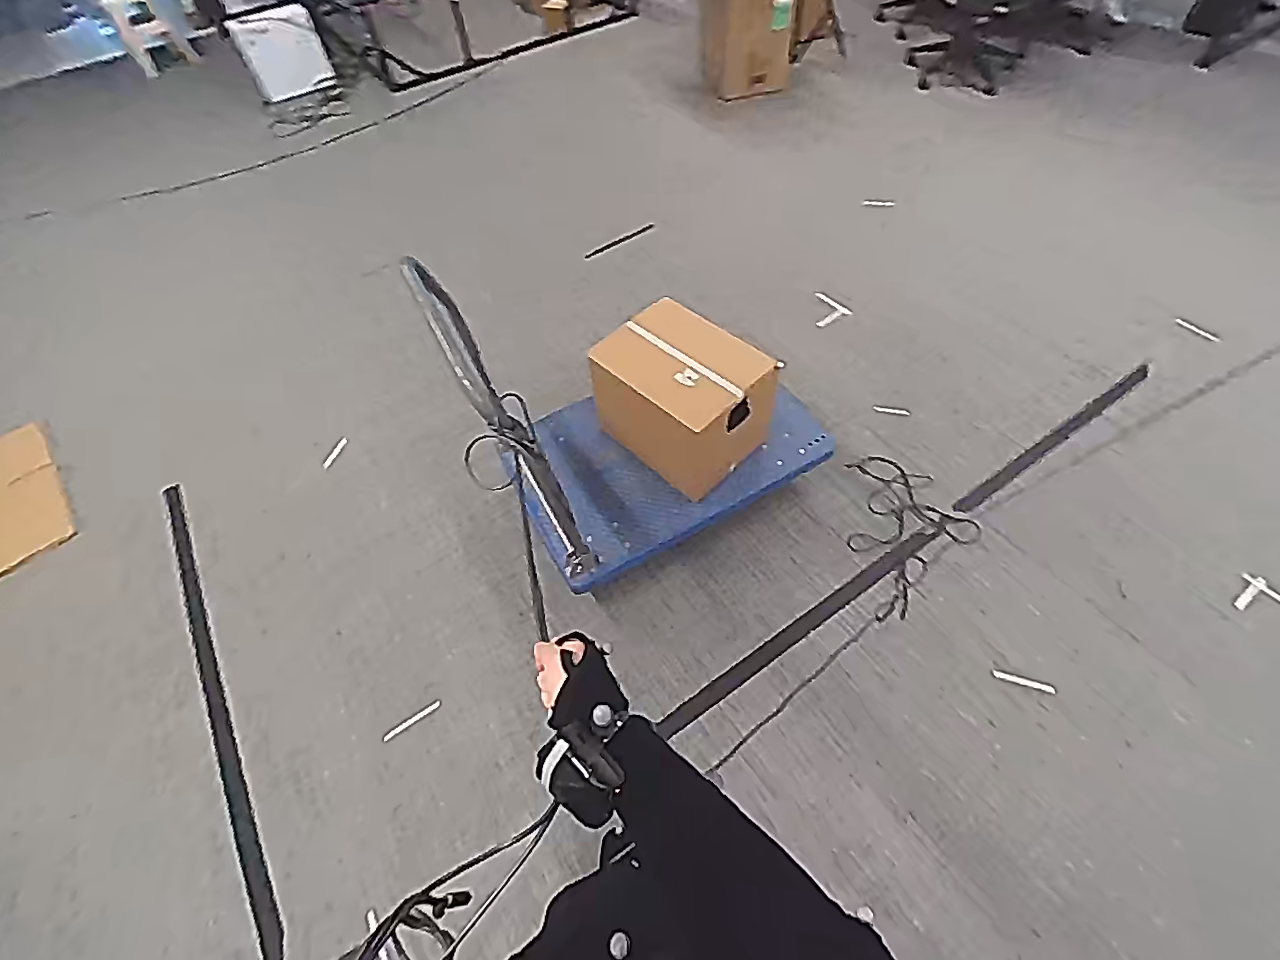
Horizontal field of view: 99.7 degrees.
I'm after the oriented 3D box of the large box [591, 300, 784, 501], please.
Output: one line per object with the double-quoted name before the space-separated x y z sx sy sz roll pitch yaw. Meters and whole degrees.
"large box" 0.121 -0.222 1.501 0.320 0.320 0.408 -40 63 -20
